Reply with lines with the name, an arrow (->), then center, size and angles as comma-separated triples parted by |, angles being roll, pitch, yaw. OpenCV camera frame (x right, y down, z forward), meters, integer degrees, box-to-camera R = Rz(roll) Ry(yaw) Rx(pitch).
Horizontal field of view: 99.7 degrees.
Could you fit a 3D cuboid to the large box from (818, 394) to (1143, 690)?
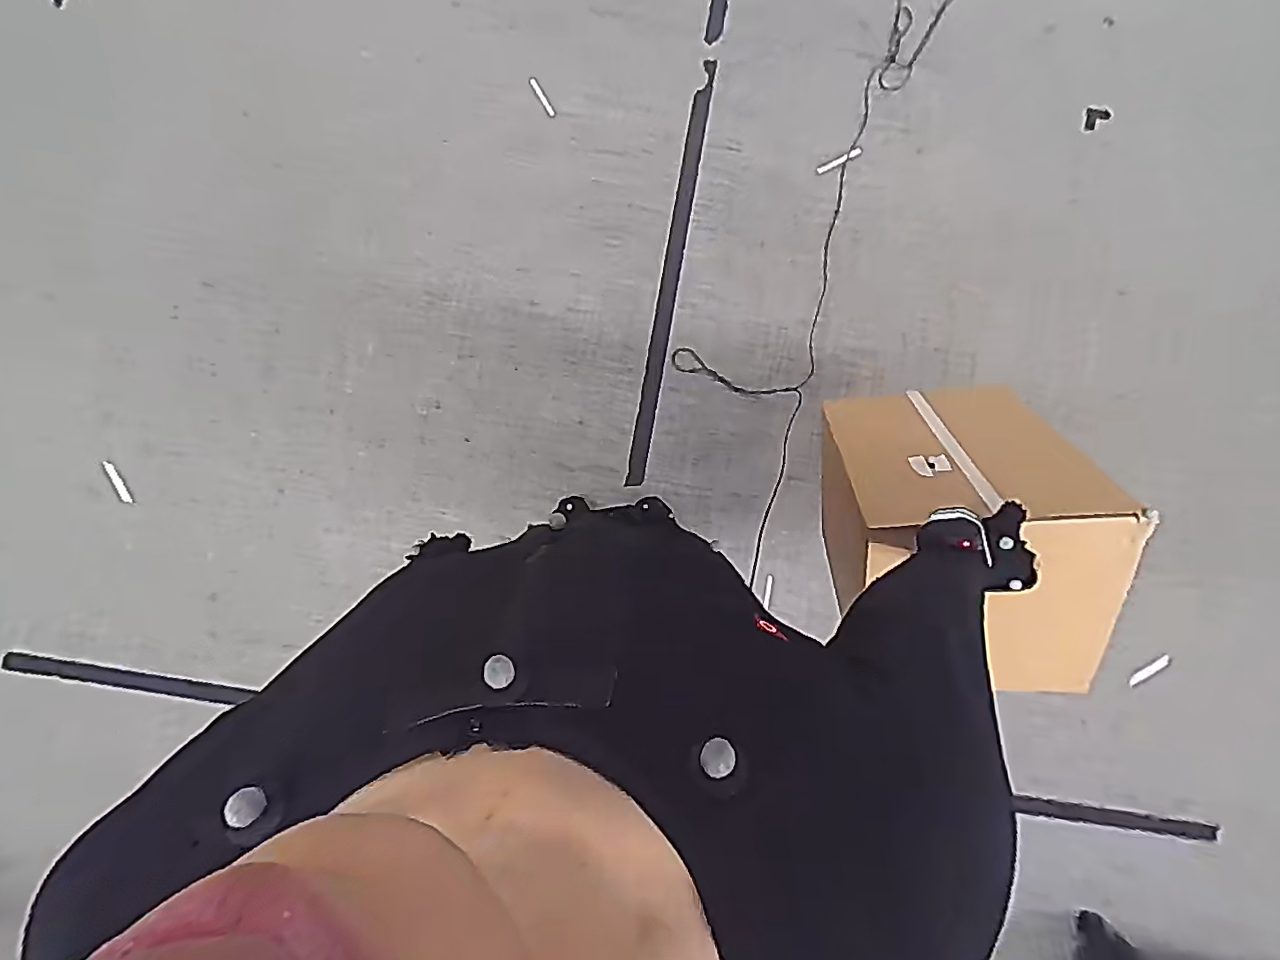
large box -> 0.492, 0.087, 0.908 | 0.320, 0.408, 0.320 | -5, 122, 11
